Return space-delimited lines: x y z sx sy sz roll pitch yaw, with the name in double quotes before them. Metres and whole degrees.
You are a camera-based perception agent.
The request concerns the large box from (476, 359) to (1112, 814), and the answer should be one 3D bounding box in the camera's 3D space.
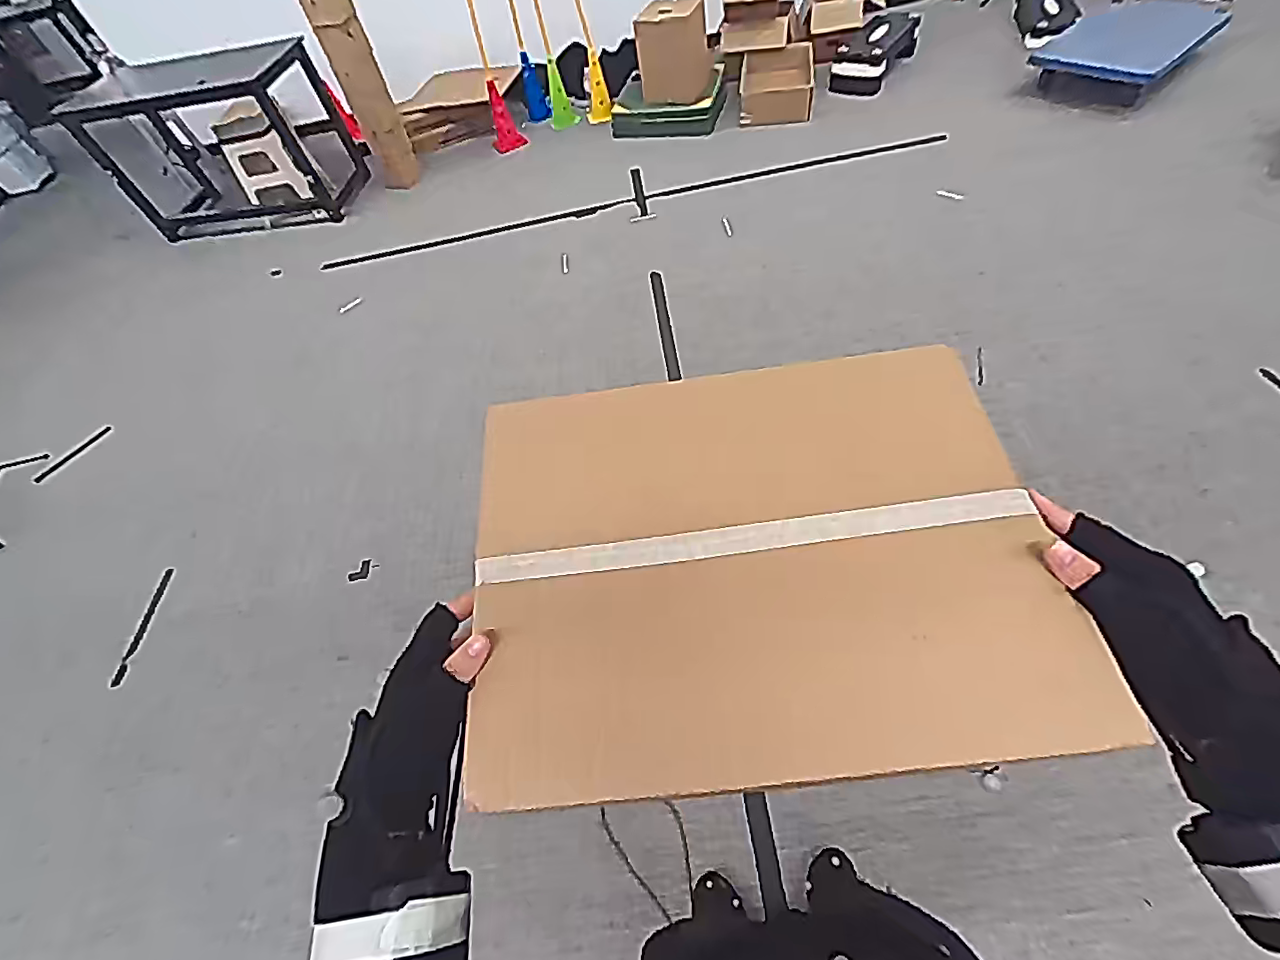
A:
"large box" 0.094 0.122 0.535 0.408 0.320 0.320 -7 59 2
